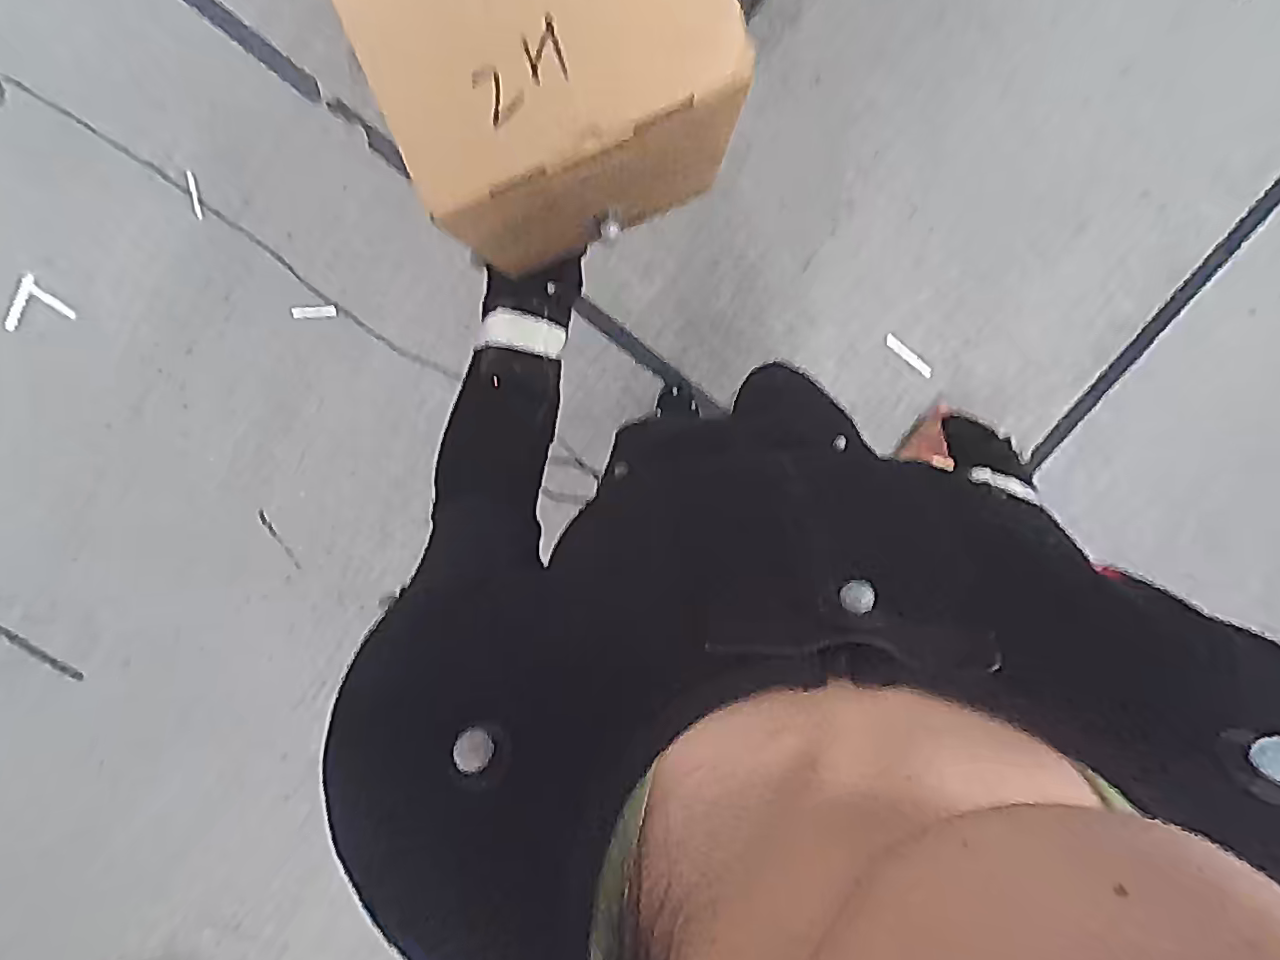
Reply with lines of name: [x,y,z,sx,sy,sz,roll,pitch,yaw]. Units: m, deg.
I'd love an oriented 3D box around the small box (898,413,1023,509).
small box: [0.792,-0.056,1.361,0.179,0.176,0.168,35,101,-6]

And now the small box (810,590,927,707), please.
small box: [0.540,0.396,1.303,0.179,0.176,0.168,-38,98,11]

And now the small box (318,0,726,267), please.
small box: [-0.062,-0.246,0.315,0.168,0.176,0.179,-18,103,5]
